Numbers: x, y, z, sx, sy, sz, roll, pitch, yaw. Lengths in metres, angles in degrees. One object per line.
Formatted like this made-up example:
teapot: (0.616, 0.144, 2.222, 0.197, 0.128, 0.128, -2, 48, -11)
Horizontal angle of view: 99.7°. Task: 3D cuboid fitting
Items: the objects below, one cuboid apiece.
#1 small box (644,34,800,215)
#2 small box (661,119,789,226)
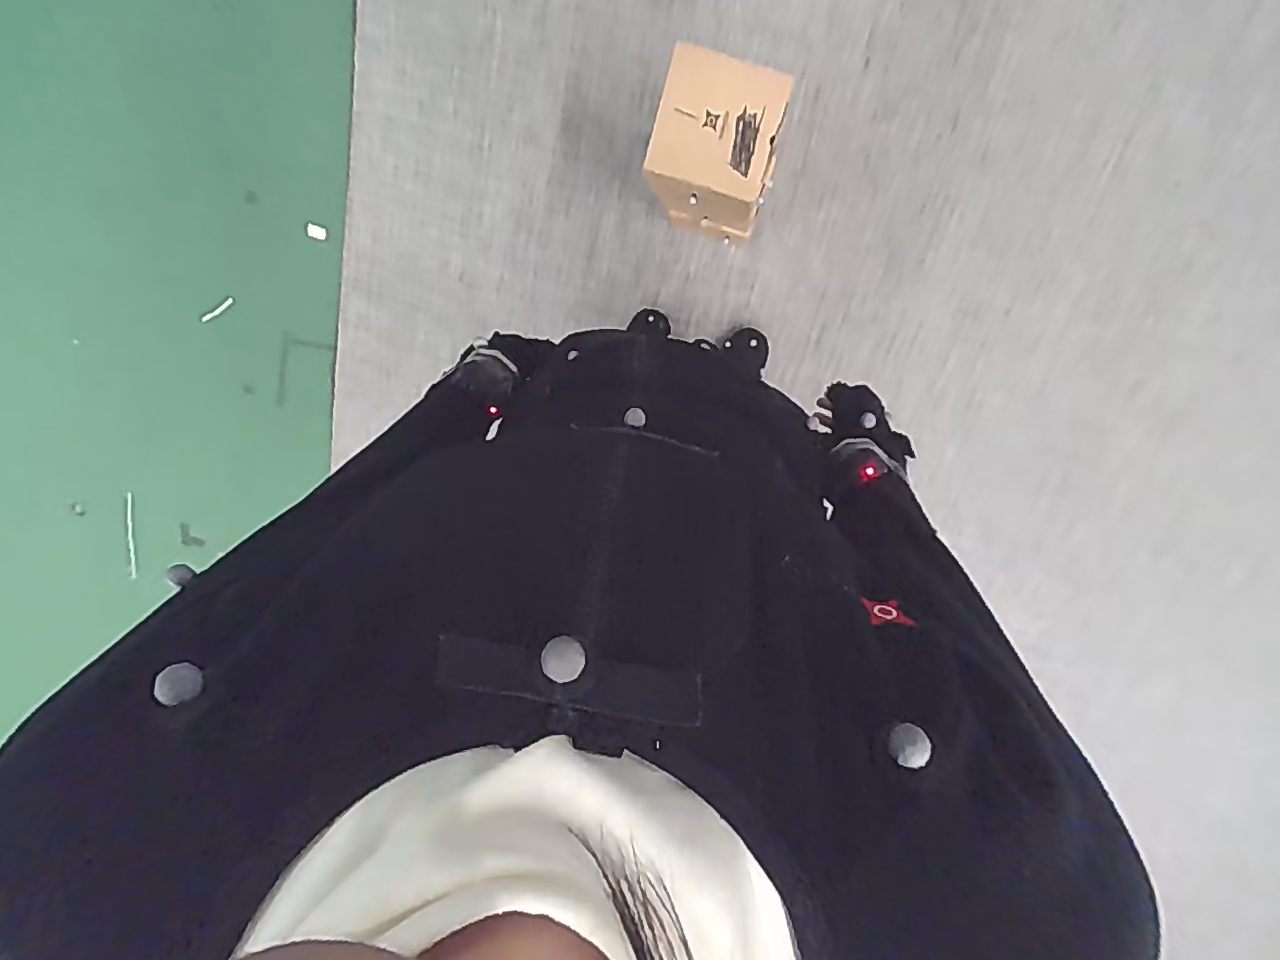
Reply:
small box: (0.123, -0.533, 0.840, 0.179, 0.176, 0.168, 22, 107, 1)
small box: (0.152, -0.582, 0.997, 0.179, 0.176, 0.168, 19, 109, 2)
